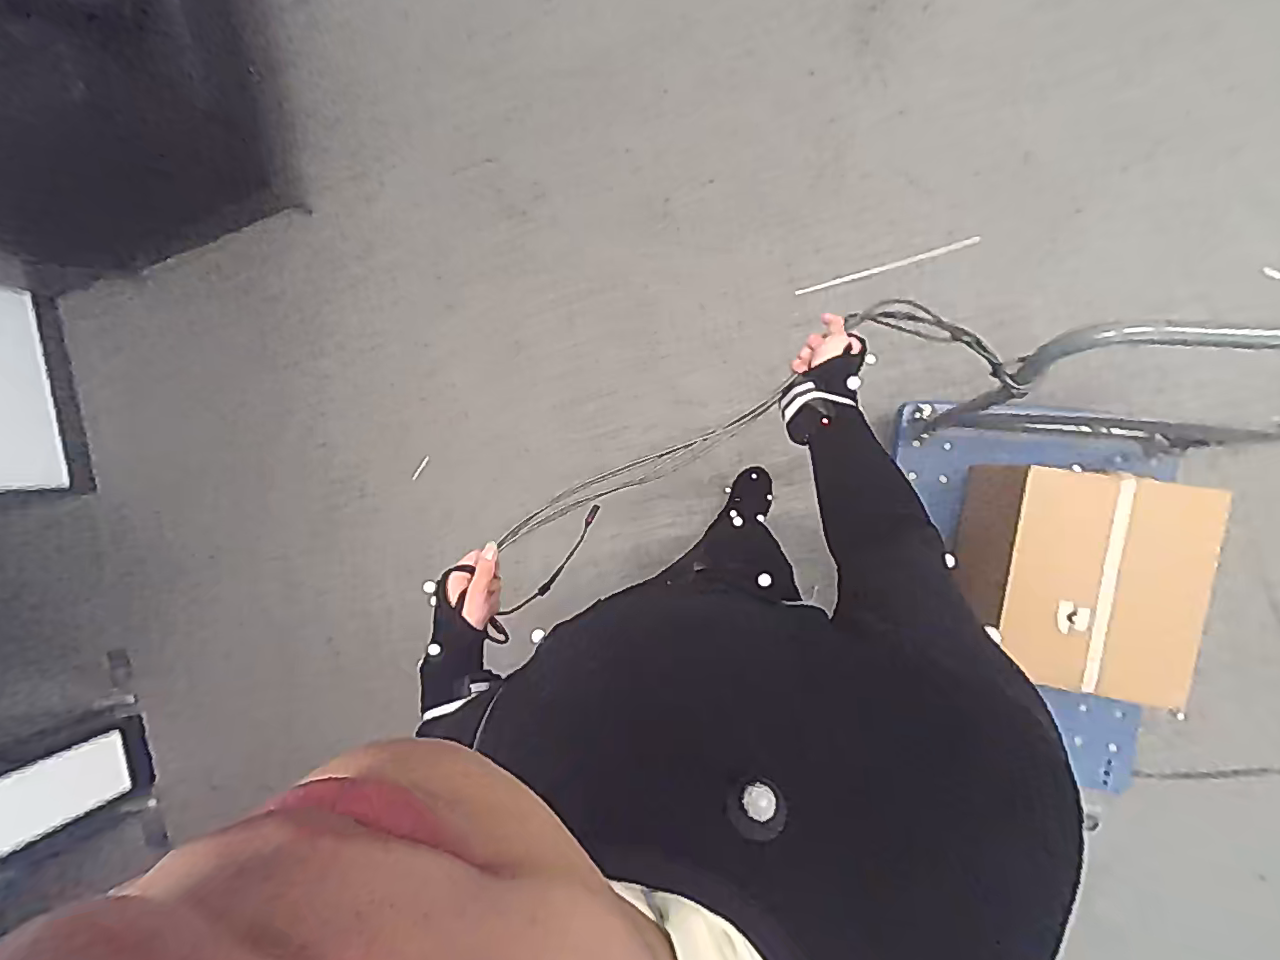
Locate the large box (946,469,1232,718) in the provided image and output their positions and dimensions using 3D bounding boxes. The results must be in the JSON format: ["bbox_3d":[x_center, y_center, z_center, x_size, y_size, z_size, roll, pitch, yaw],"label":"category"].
[{"bbox_3d":[0.880,0.198,1.122,0.320,0.320,0.408,10,95,13],"label":"large box"}]
